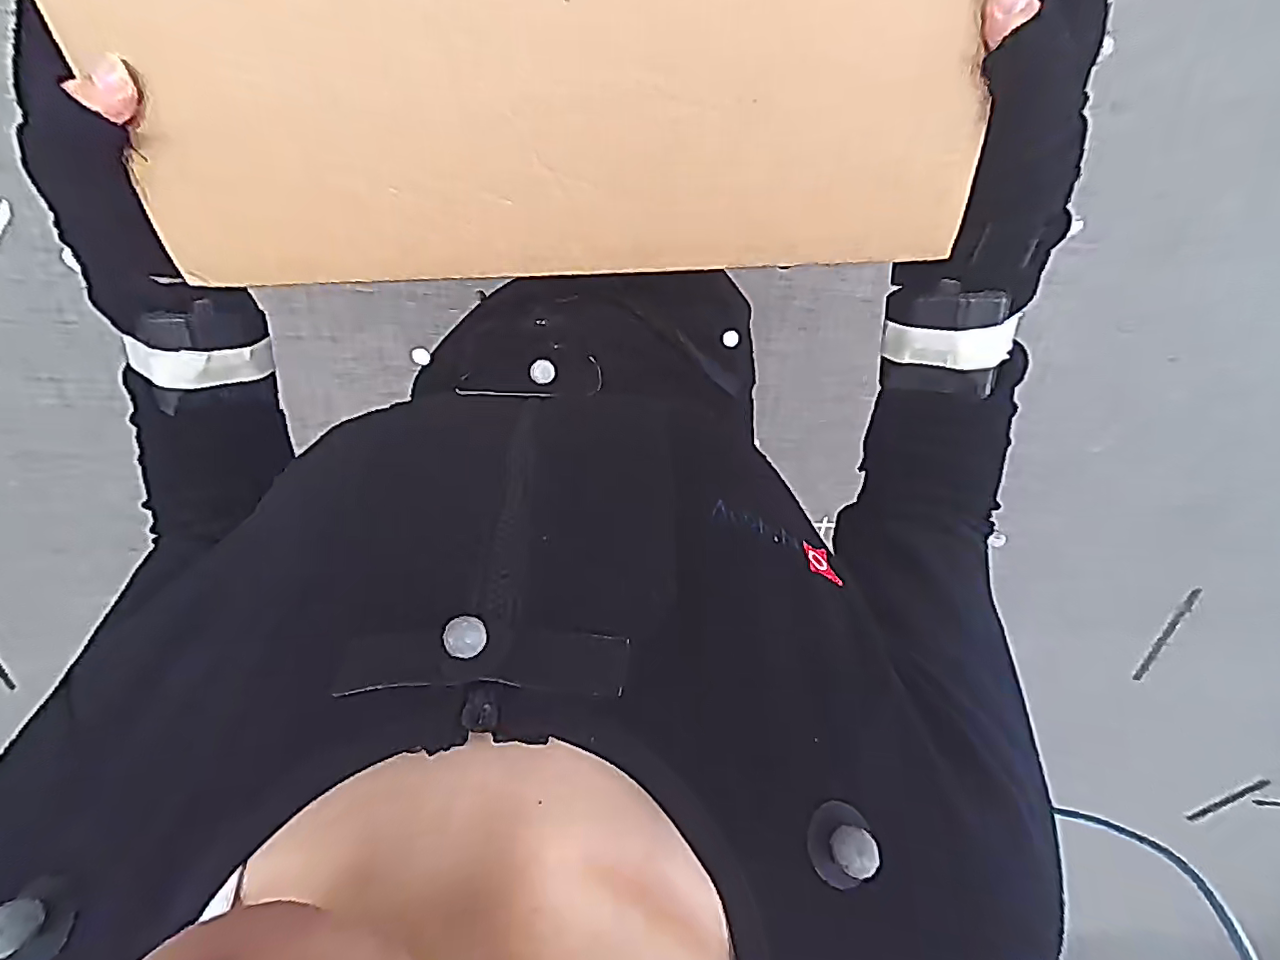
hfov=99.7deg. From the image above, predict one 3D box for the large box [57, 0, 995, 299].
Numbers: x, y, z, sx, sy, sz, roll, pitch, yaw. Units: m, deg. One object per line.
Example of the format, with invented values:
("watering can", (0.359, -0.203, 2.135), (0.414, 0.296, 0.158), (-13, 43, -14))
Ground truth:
("large box", (-0.046, -0.322, 0.326), (0.408, 0.320, 0.320), (-2, 126, 2))
